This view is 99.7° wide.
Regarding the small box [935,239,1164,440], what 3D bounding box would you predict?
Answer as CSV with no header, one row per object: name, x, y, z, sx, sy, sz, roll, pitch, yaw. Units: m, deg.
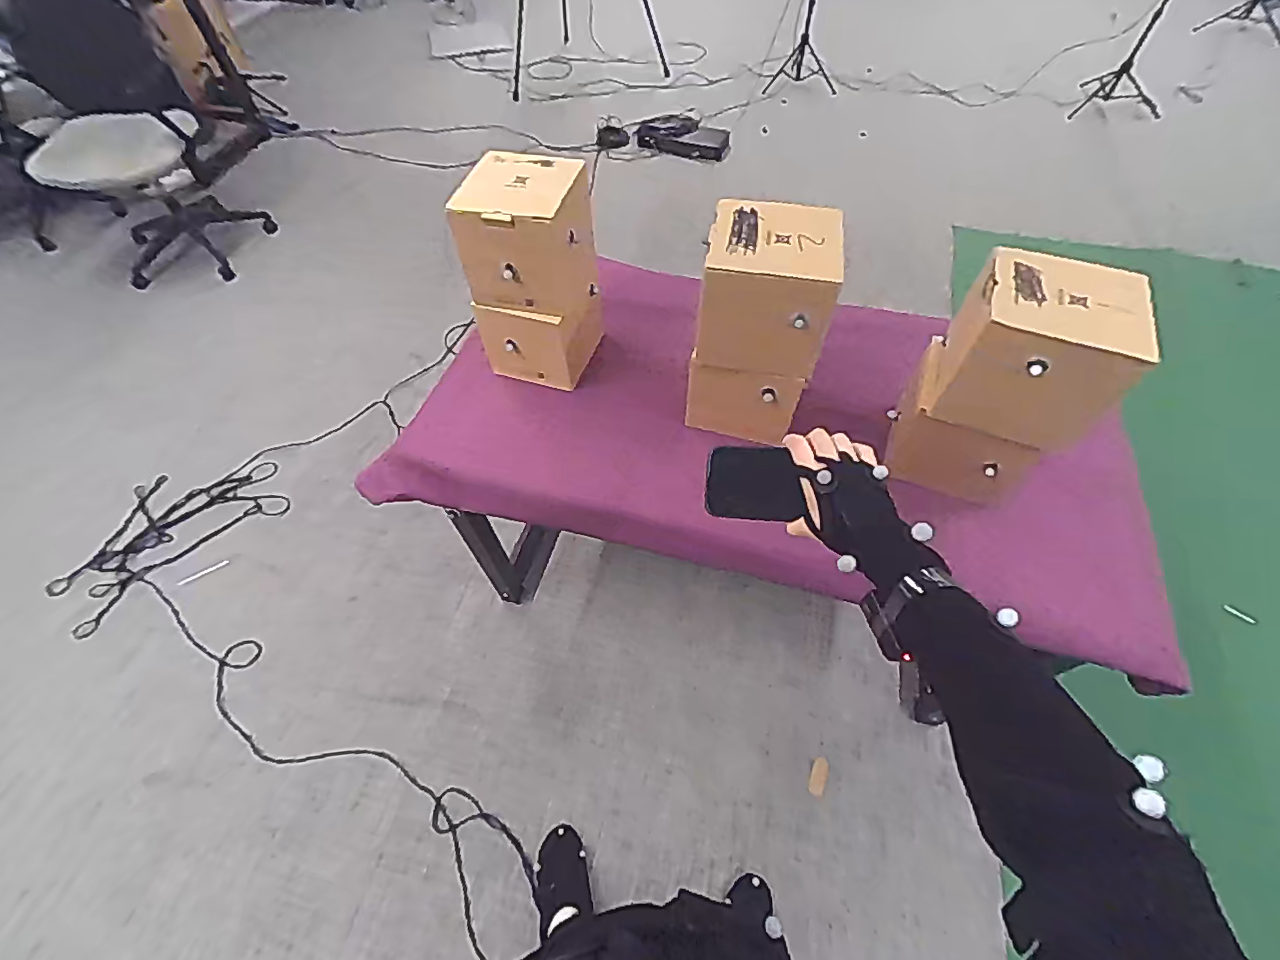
small box,0.508,-0.177,0.698,0.179,0.176,0.168,19,58,14

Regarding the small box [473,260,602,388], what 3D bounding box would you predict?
small box,-0.176,-0.296,1.004,0.168,0.176,0.179,14,57,12

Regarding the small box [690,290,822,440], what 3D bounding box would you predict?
small box,0.190,-0.190,0.916,0.179,0.176,0.168,14,57,11

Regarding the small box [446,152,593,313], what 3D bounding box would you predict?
small box,-0.179,-0.395,0.873,0.168,0.176,0.179,10,57,8

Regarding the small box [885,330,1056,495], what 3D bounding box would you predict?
small box,0.510,-0.099,0.843,0.179,0.176,0.168,19,58,15
